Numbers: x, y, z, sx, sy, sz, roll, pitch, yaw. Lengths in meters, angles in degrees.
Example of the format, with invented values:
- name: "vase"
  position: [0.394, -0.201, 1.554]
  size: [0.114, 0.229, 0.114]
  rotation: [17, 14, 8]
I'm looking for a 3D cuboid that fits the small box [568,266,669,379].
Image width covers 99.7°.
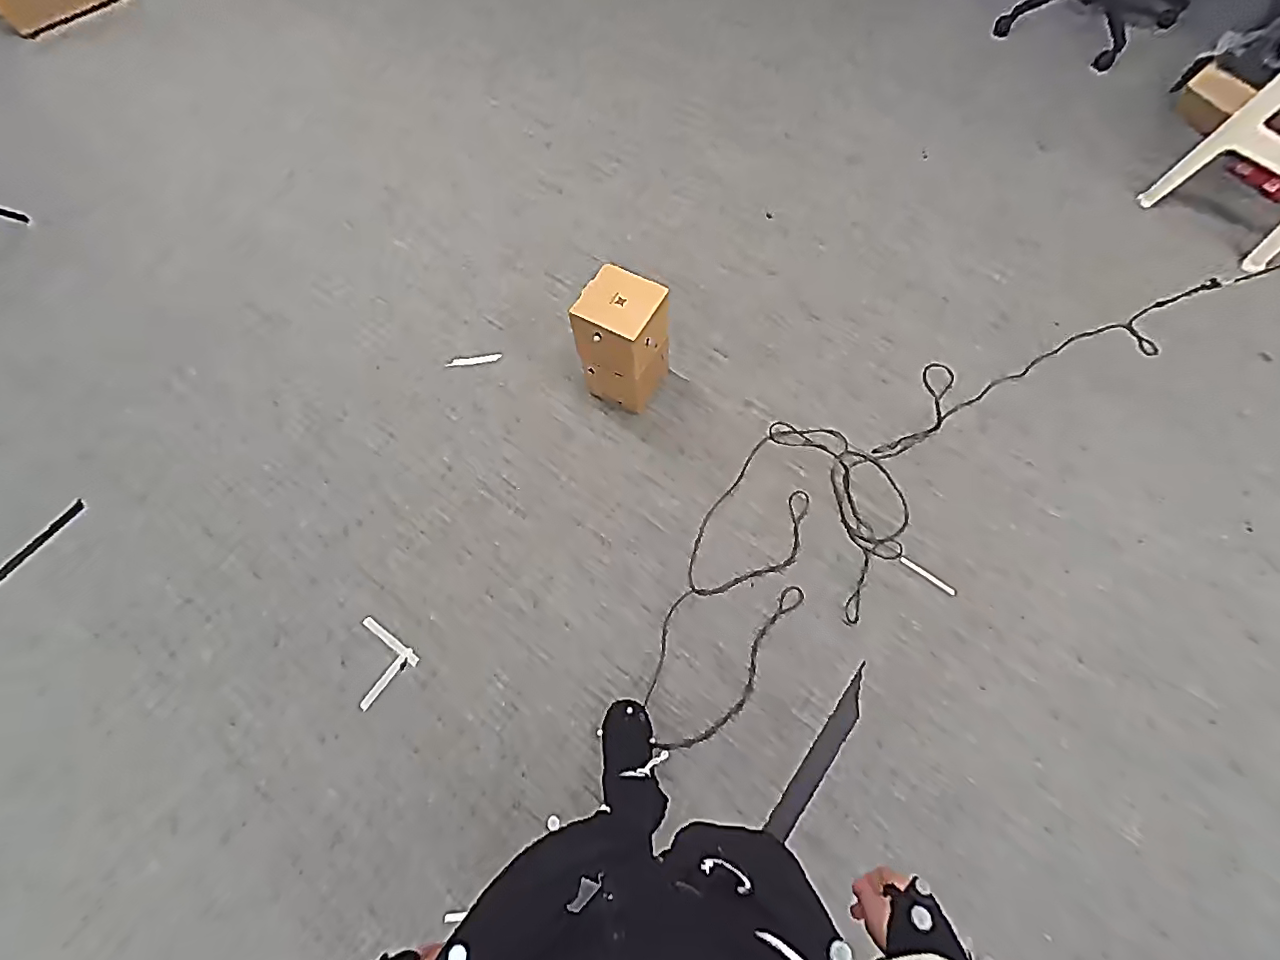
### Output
- name: "small box"
  position: [-0.044, -0.367, 1.291]
  size: [0.179, 0.176, 0.168]
  rotation: [27, 71, 13]
